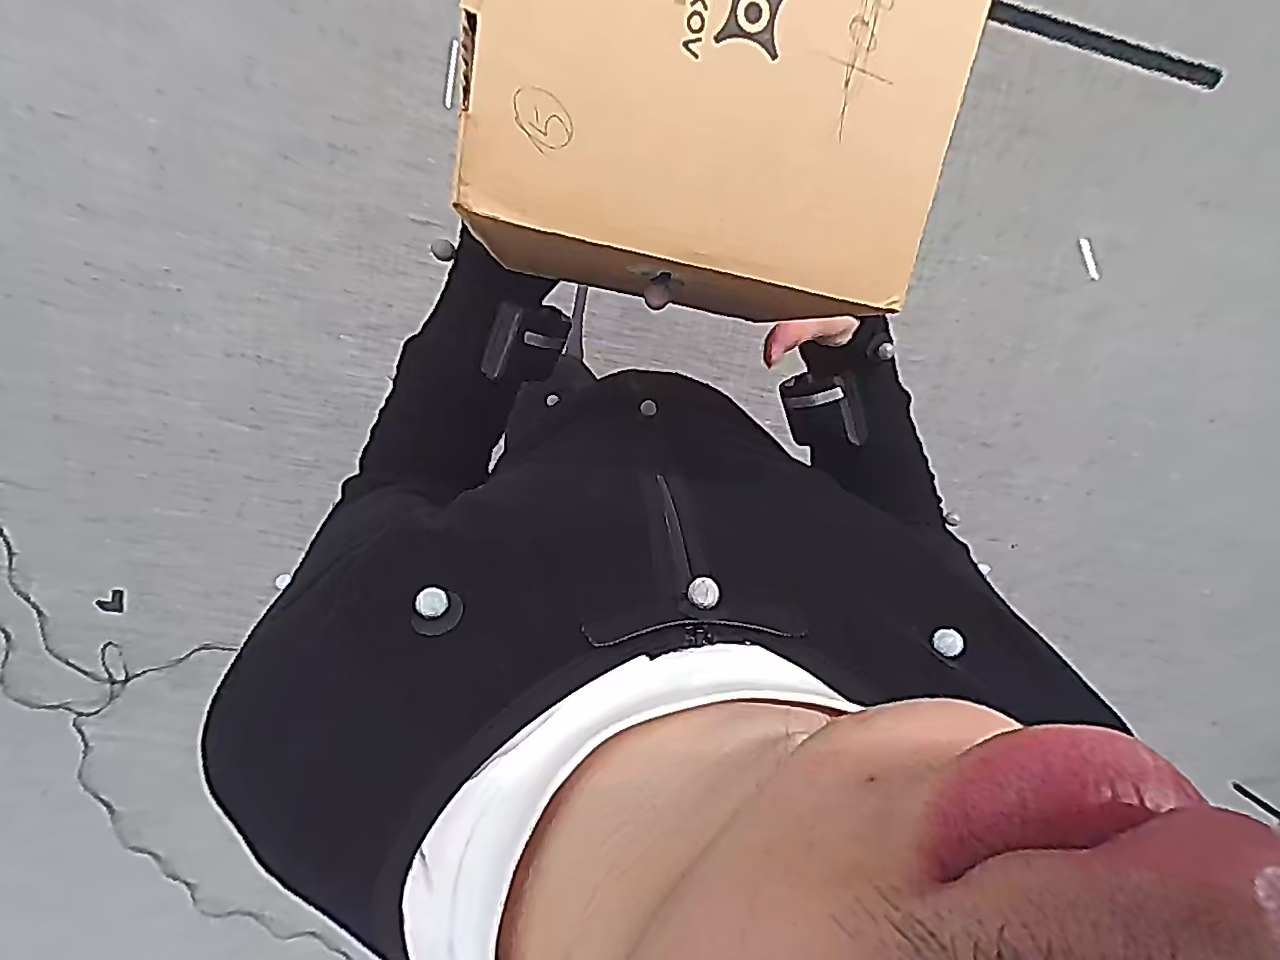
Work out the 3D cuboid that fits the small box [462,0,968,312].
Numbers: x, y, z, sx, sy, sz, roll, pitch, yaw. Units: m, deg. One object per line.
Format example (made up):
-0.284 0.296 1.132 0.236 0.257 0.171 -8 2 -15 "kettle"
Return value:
0.024 -0.184 0.272 0.179 0.176 0.168 9 104 -10 "small box"
